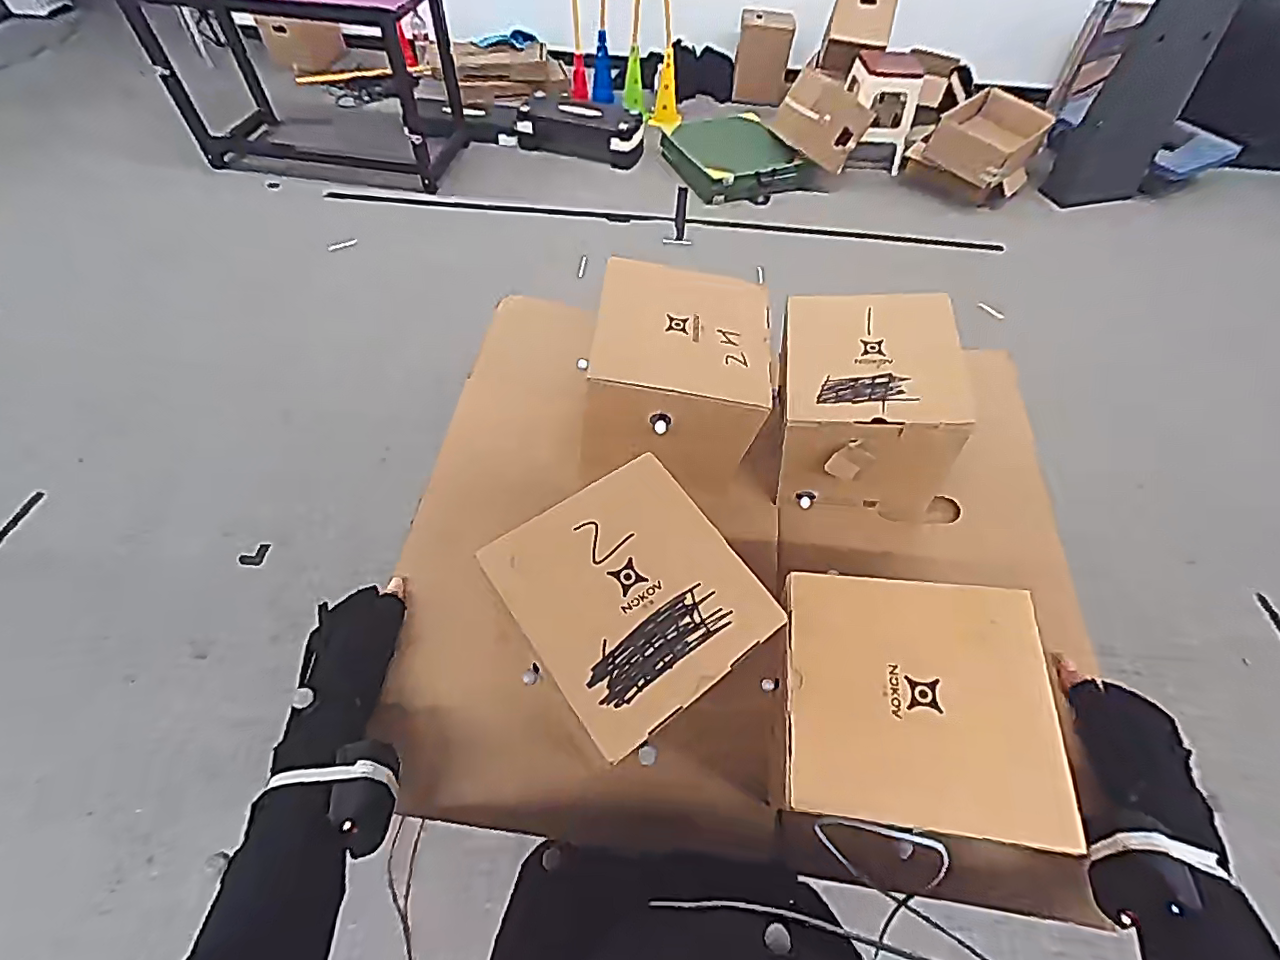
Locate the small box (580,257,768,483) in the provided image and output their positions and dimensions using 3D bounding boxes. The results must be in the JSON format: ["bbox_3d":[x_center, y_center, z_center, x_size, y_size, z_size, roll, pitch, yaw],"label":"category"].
[{"bbox_3d":[0.031,-0.112,0.604,0.179,0.176,0.168,9,61,-5],"label":"small box"}]
